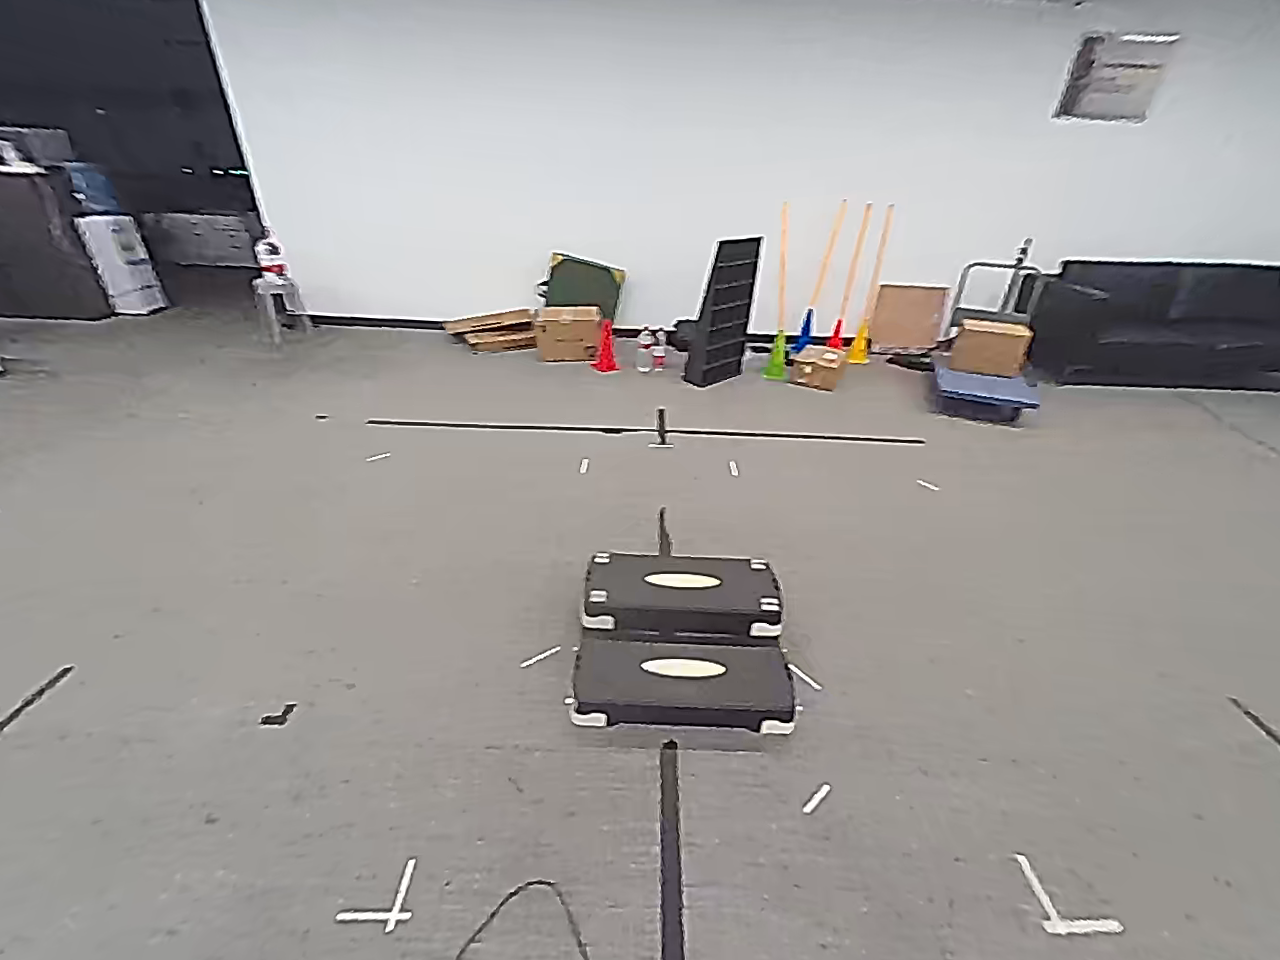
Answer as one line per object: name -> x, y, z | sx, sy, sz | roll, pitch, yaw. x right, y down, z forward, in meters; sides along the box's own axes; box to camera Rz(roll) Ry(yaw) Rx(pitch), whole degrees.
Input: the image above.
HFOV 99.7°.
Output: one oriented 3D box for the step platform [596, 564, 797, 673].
step platform -> 0.192, 0.472, 1.885 | 0.684, 0.204, 0.286 | 5, 30, 4
